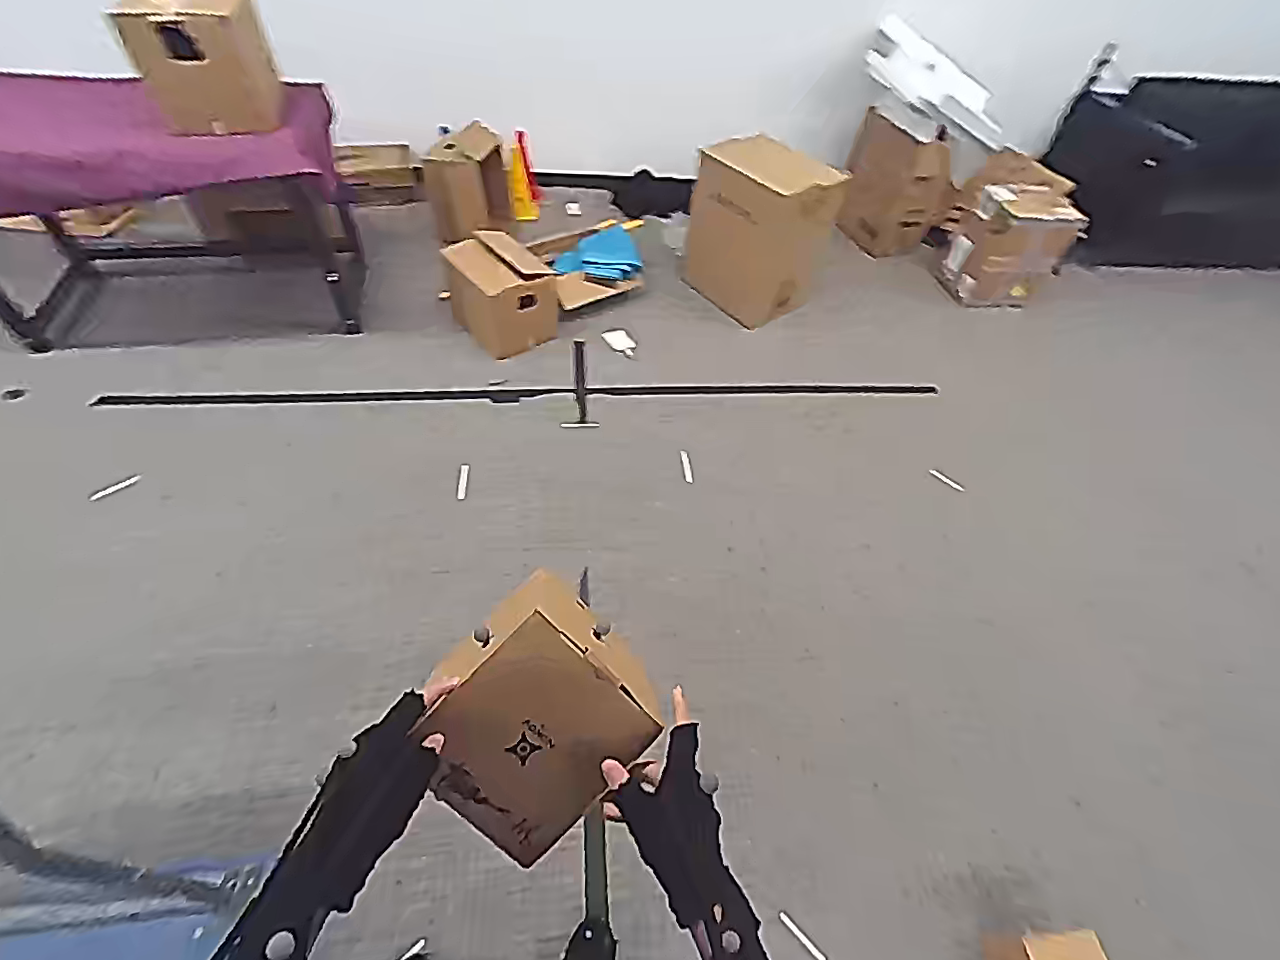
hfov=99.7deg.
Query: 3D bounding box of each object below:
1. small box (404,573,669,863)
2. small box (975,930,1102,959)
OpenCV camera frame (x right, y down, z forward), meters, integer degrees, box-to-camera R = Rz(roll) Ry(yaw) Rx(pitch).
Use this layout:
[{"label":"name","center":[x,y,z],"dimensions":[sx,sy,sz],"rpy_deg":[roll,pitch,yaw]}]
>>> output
[{"label":"small box","center":[-0.100,0.221,0.554],"dimensions":[0.179,0.176,0.168],"rpy_deg":[-44,99,-4]},{"label":"small box","center":[0.839,1.044,1.105],"dimensions":[0.168,0.176,0.179],"rpy_deg":[-2,50,-10]}]
